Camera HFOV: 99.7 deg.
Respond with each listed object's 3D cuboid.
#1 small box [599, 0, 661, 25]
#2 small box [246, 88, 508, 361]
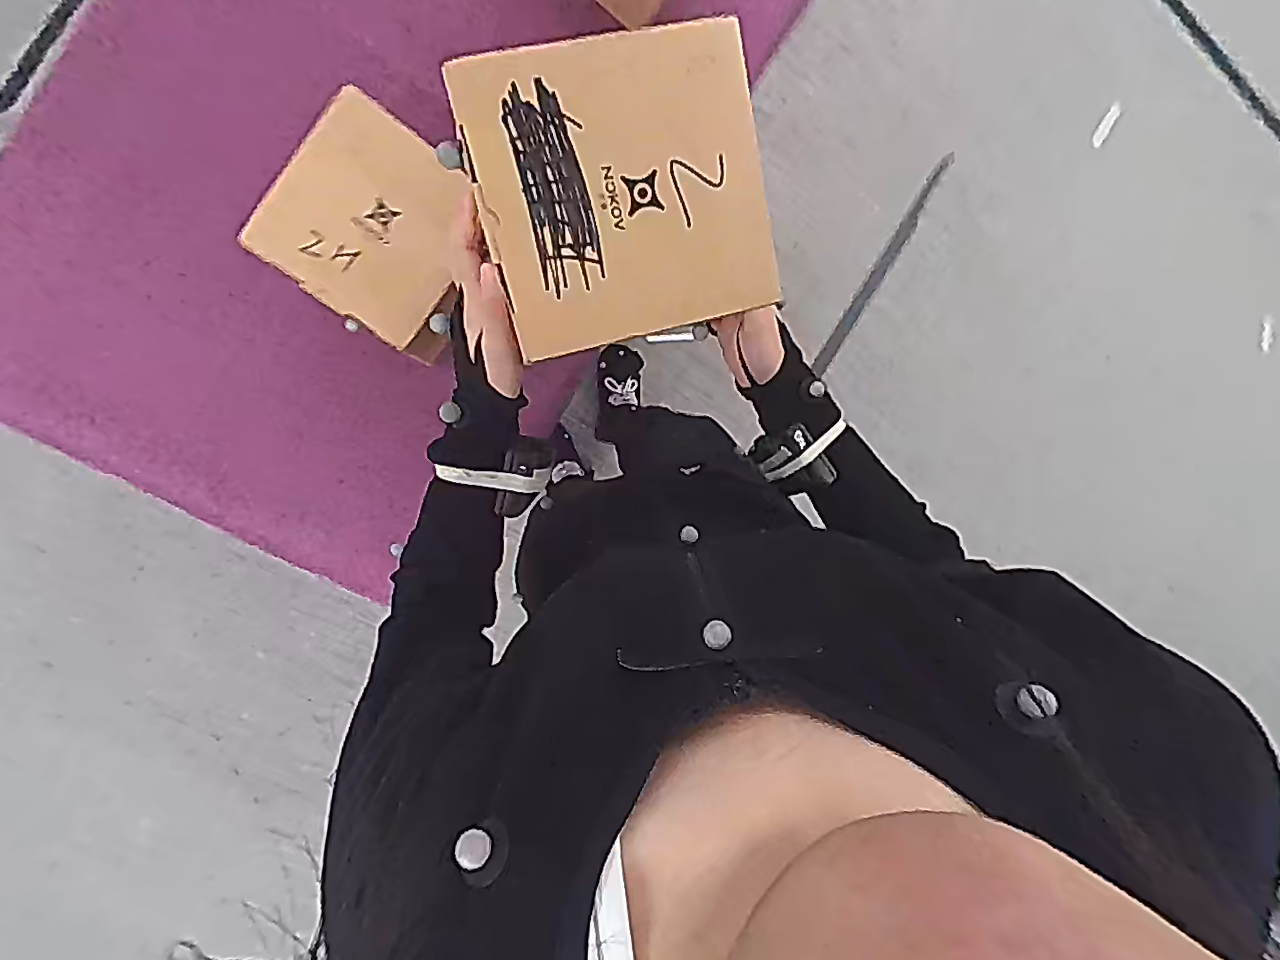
[{"bbox_3d":[-0.012,-0.658,0.577,0.179,0.176,0.168,34,90,-14],"label":"small box"},{"bbox_3d":[-0.258,-0.248,0.579,0.168,0.176,0.179,34,90,-13],"label":"small box"}]
